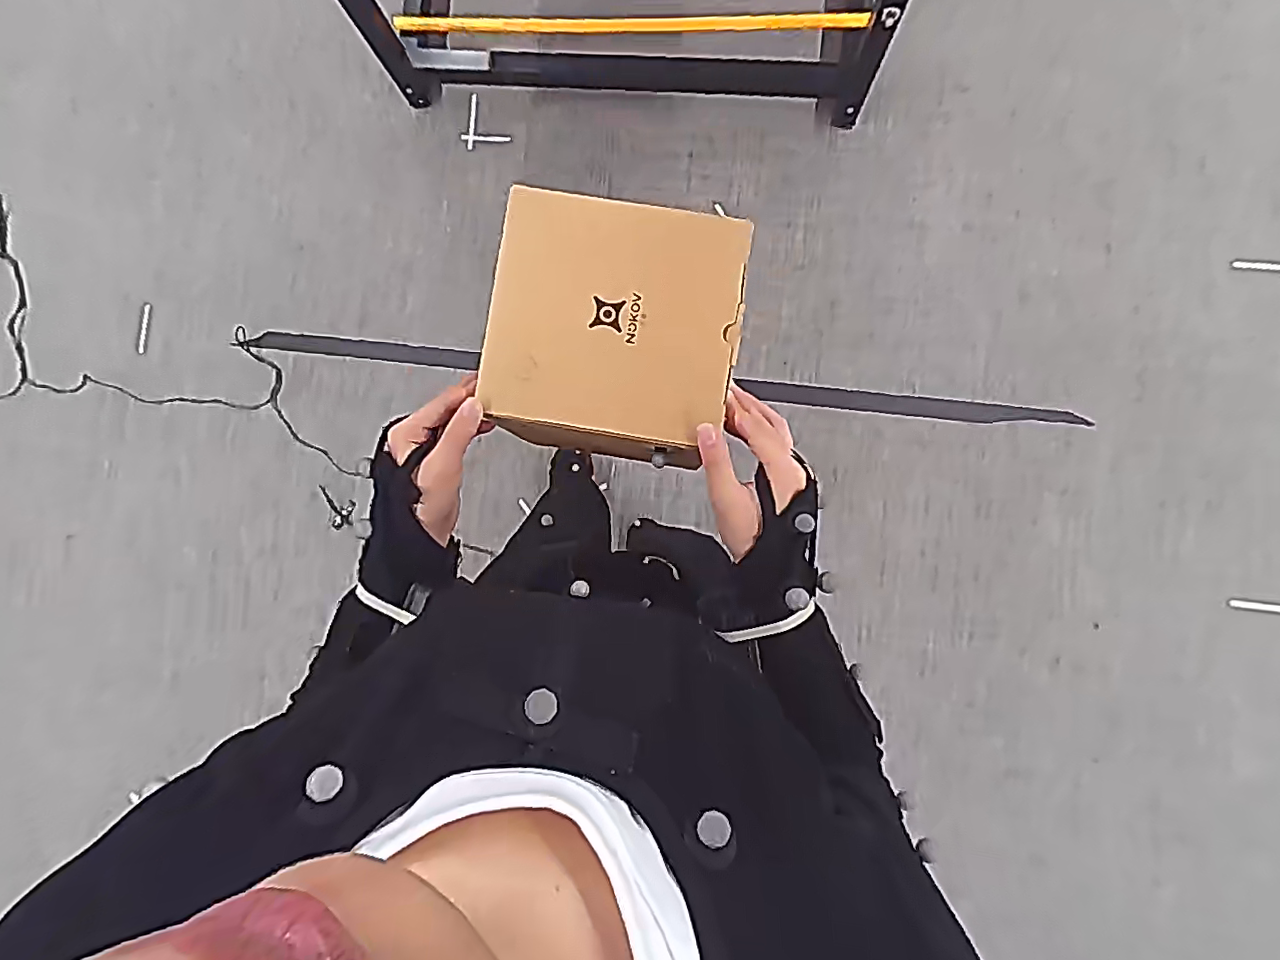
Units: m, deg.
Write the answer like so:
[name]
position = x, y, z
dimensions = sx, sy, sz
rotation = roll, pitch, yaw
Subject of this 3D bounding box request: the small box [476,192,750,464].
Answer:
[small box]
position = -0.018, -0.111, 0.464
dimensions = 0.179, 0.176, 0.168
rotation = 9, 86, 0
